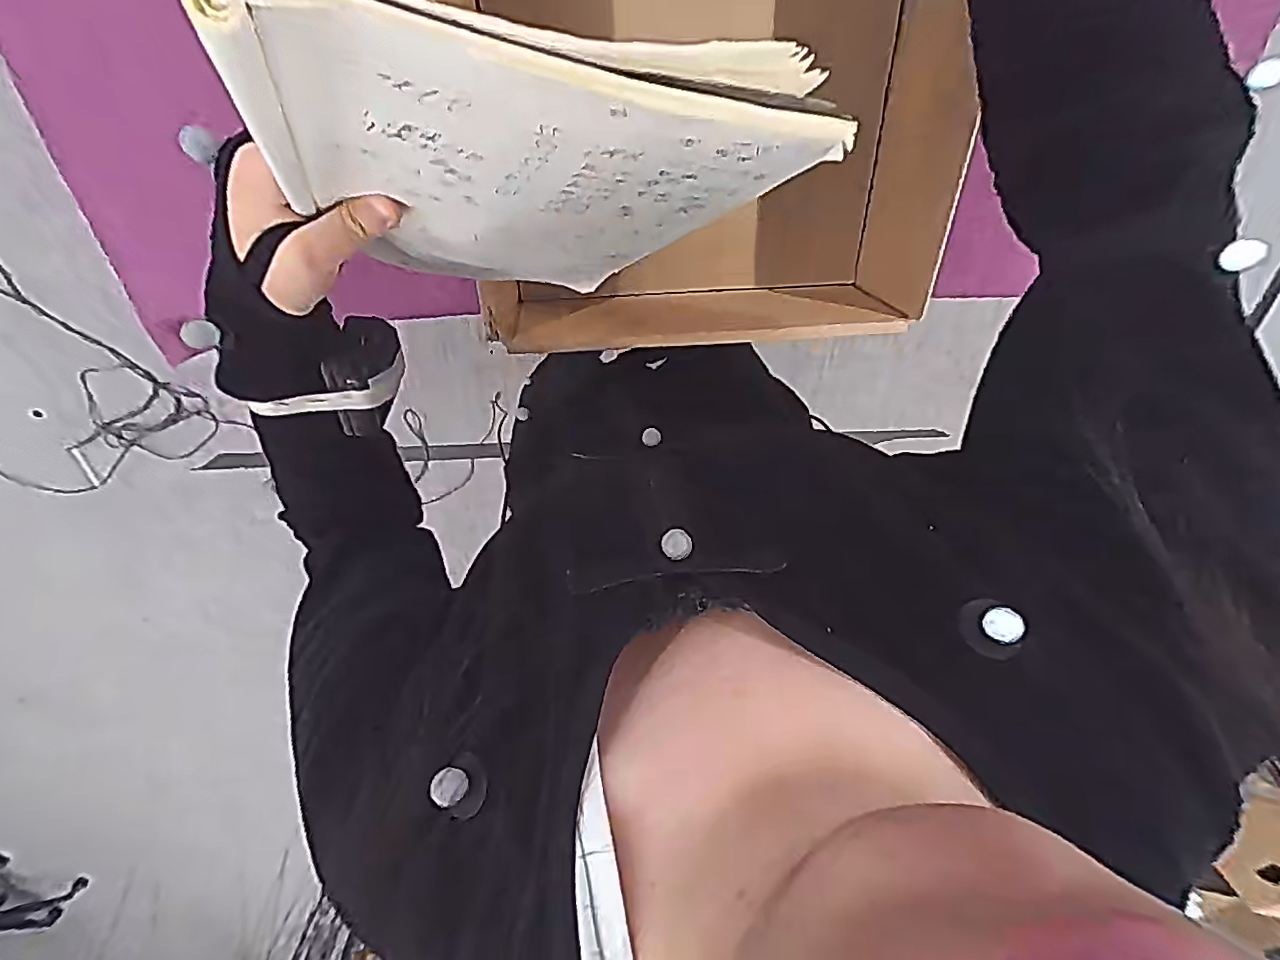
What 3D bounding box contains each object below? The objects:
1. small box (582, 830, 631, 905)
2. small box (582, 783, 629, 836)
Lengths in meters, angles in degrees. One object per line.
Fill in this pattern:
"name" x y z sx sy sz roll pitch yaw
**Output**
"small box" -0.122 1.370 1.920 0.168 0.176 0.179 -1 123 -5
"small box" -0.136 1.271 2.050 0.168 0.176 0.179 2 124 -7
